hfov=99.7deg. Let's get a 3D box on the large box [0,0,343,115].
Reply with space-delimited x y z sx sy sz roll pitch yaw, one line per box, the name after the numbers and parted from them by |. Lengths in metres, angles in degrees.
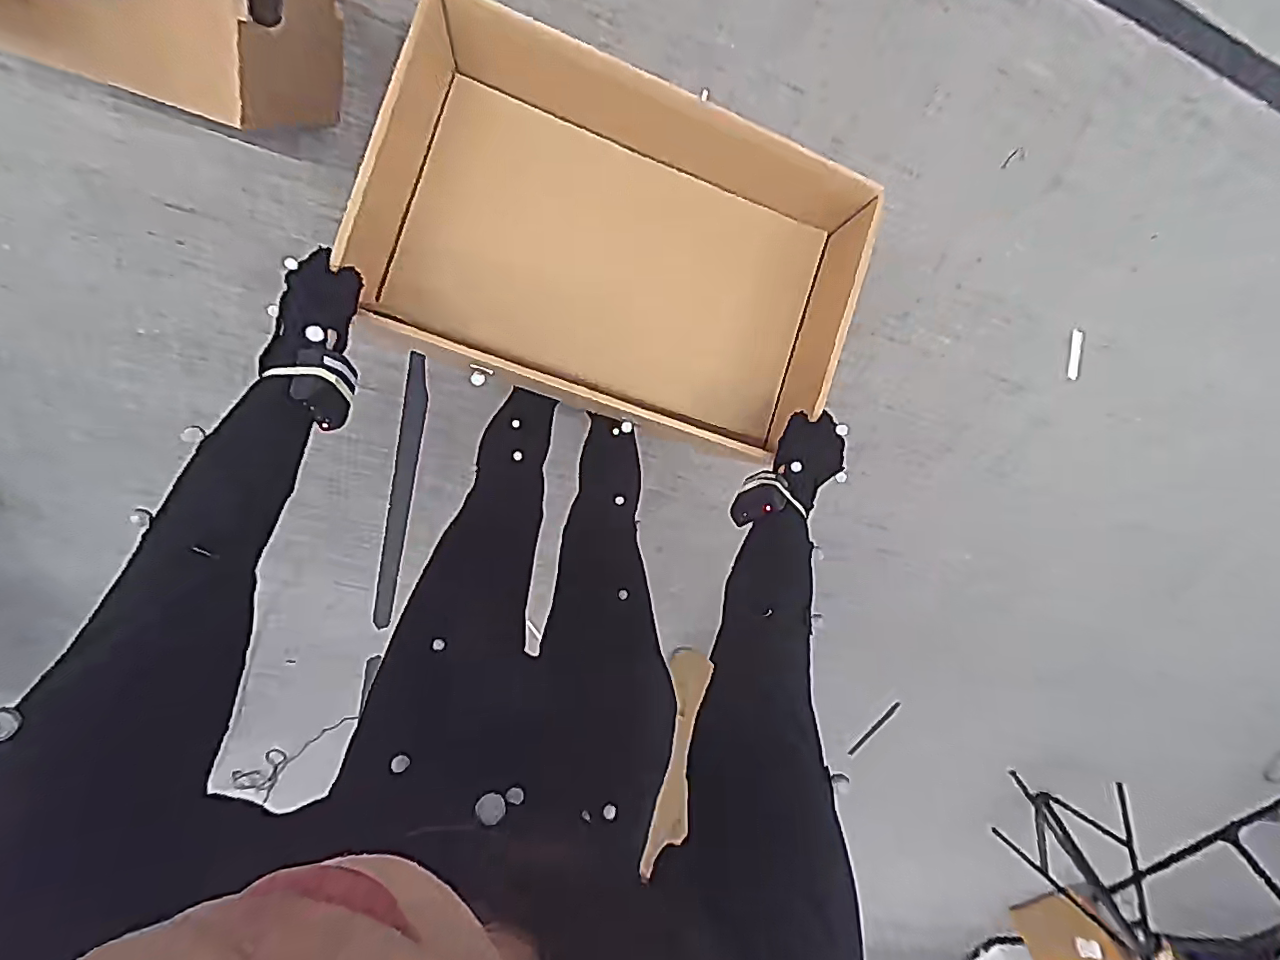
-0.632 -0.690 0.660 0.408 0.320 0.320 13 124 -14 | large box
